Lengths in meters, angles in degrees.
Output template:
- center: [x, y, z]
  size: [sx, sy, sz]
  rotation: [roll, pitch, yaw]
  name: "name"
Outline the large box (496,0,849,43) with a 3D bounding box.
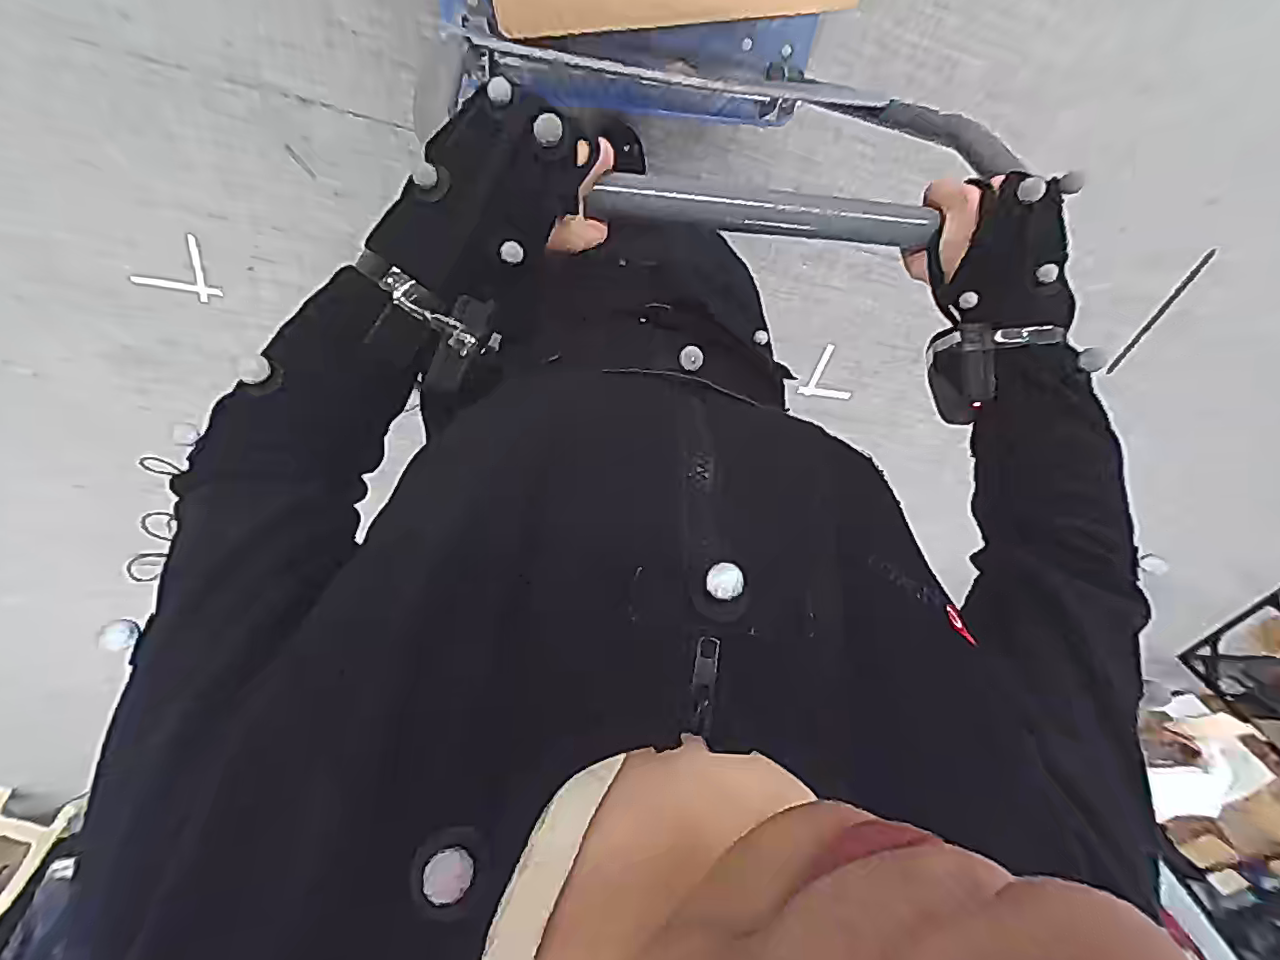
- center: [0.007, -0.717, 0.613]
  size: [0.408, 0.320, 0.320]
  rotation: [-10, 132, -6]
  name: "large box"
